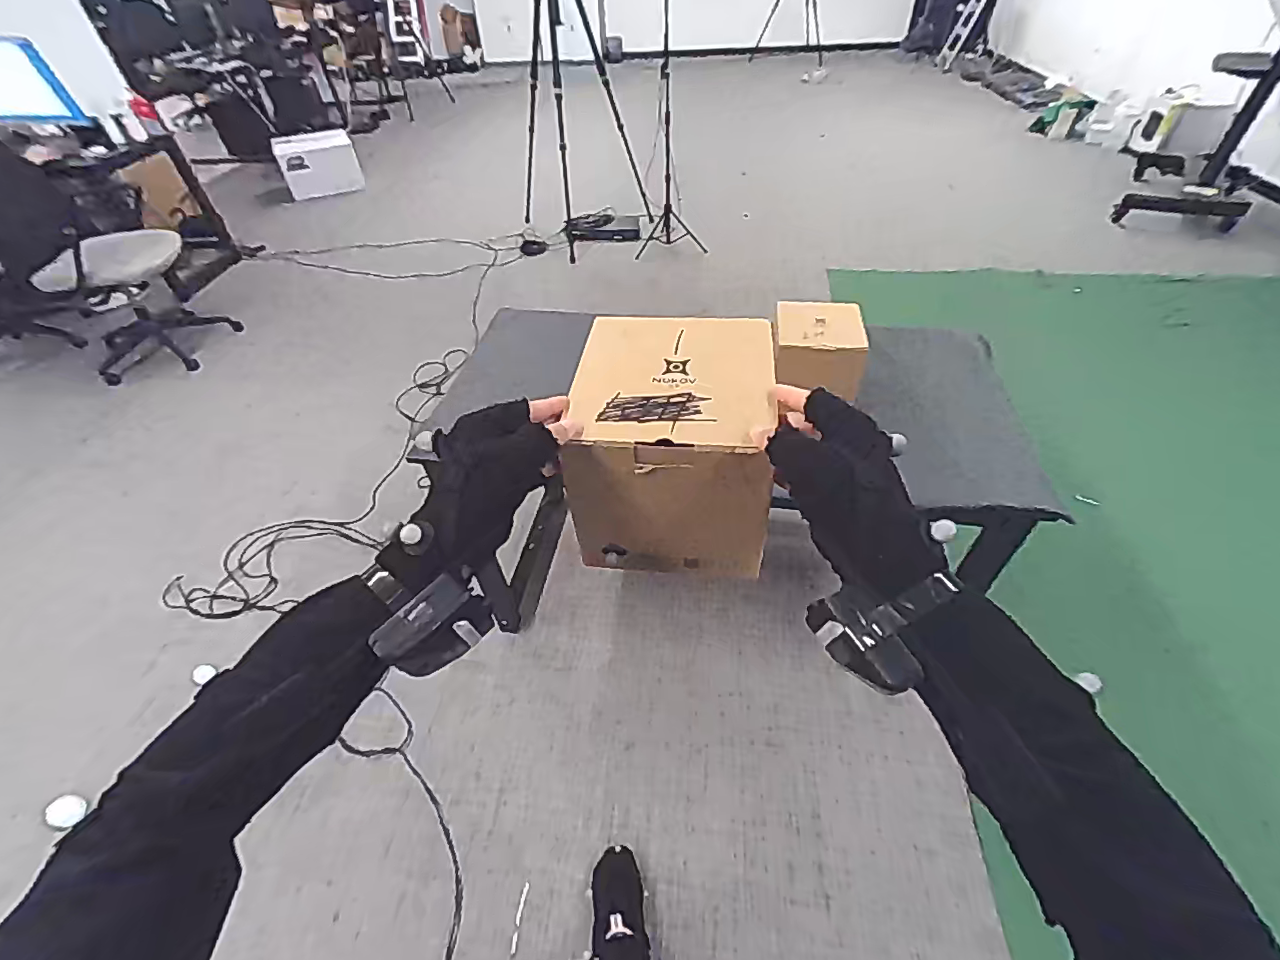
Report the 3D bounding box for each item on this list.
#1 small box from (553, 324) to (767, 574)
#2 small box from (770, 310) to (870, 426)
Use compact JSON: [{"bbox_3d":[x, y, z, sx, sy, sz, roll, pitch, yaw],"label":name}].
[{"bbox_3d":[0.030,-0.029,0.513,0.168,0.176,0.179,3,46,8],"label":"small box"},{"bbox_3d":[0.365,-0.235,1.127,0.168,0.176,0.179,4,46,9],"label":"small box"}]
